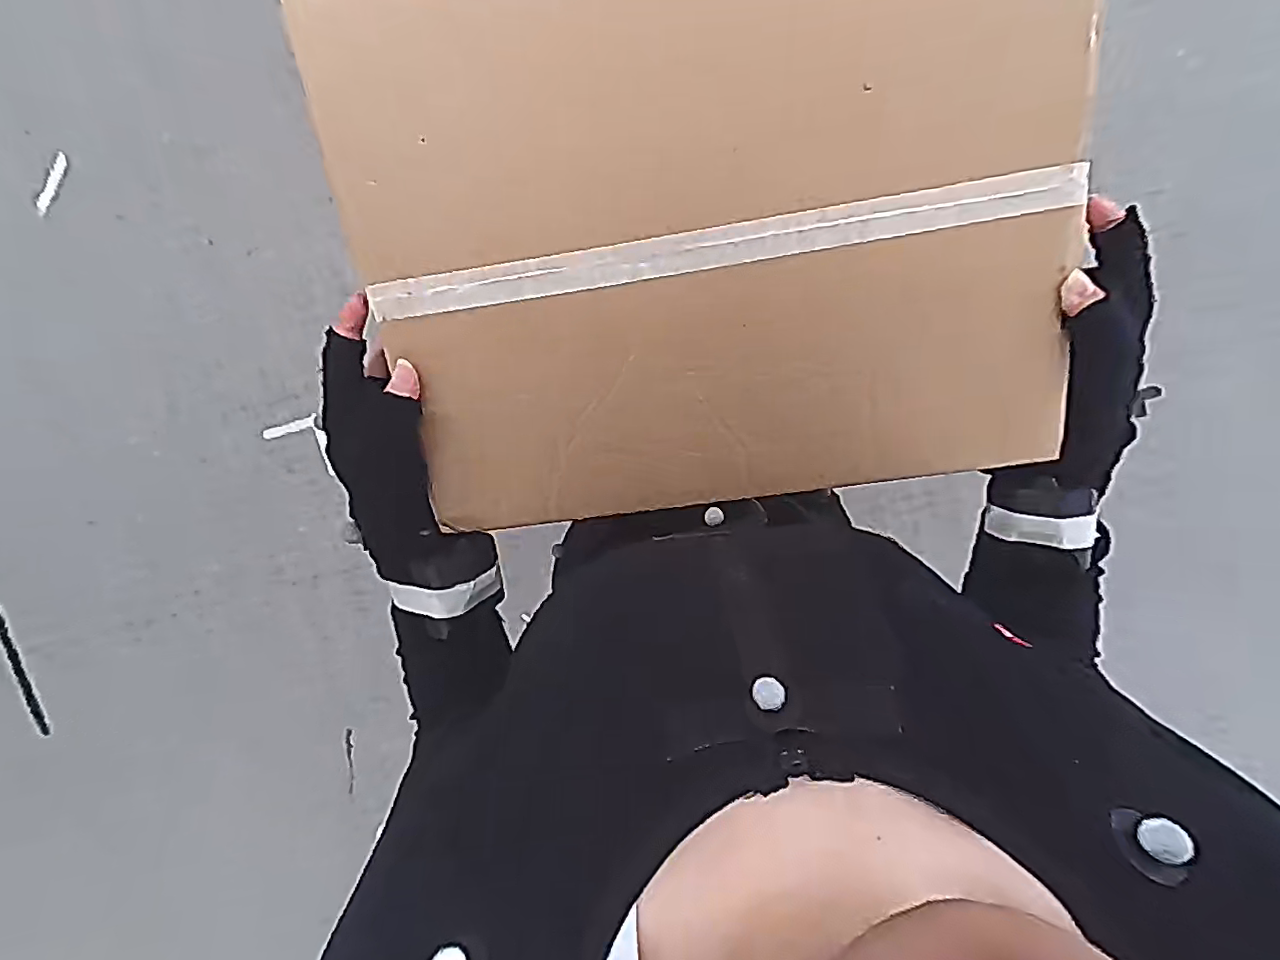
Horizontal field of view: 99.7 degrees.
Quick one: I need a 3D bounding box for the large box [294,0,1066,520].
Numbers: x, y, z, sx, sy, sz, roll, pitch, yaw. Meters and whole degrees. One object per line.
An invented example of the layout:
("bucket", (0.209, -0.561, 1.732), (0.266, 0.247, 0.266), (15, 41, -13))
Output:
("large box", (0.039, -0.192, 0.458), (0.408, 0.320, 0.320), (-7, 109, 5))
